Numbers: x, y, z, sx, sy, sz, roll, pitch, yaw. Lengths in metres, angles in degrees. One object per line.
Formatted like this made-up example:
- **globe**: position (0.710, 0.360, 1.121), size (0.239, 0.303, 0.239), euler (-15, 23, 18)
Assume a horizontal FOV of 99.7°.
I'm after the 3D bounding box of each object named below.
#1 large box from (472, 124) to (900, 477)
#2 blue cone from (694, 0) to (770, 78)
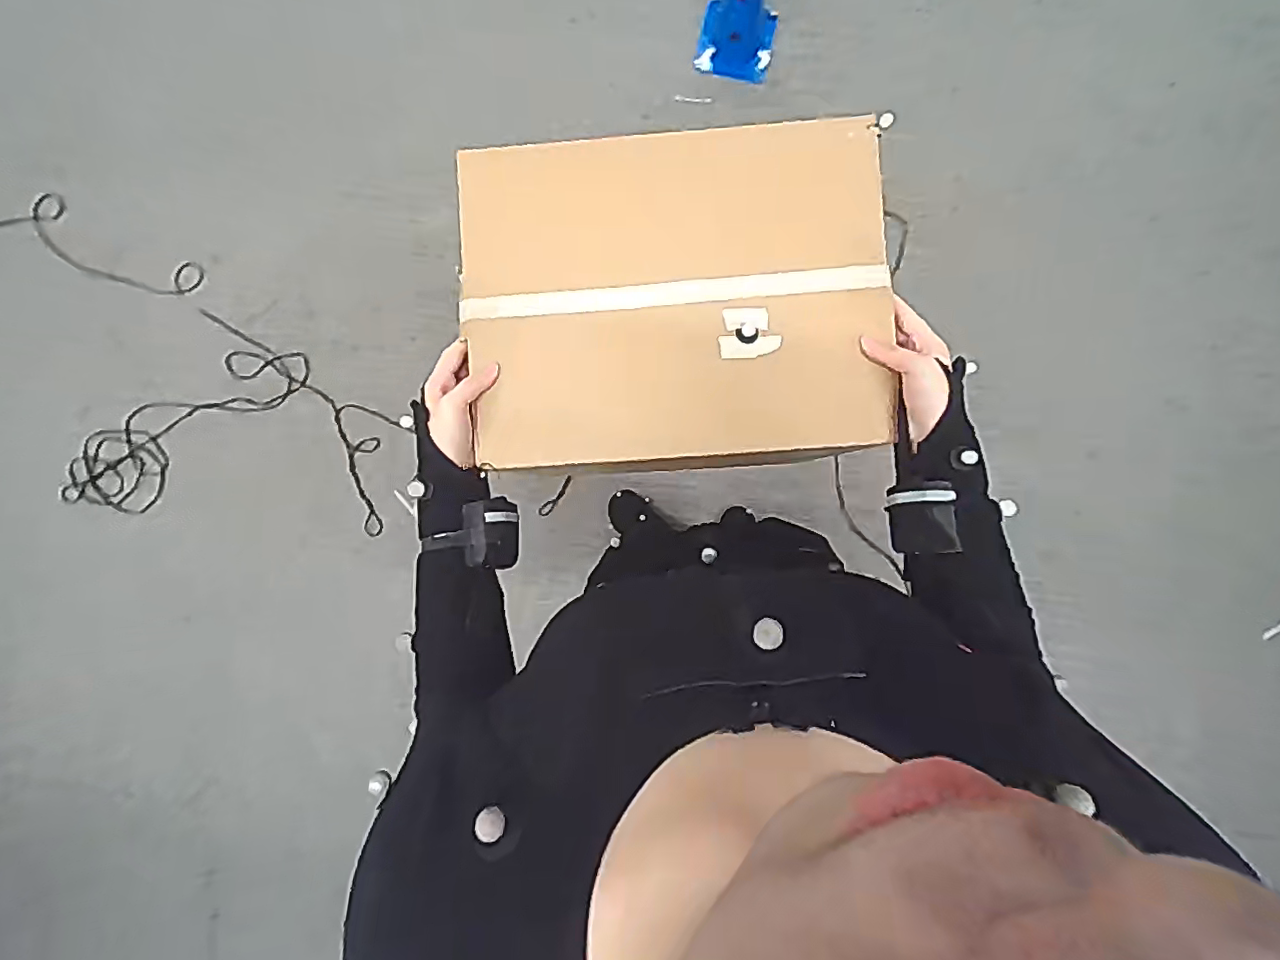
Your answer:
- **large box**: position (0.042, -0.176, 0.671), size (0.408, 0.320, 0.320), euler (-3, 89, 1)
- **blue cone**: position (0.248, -1.214, 1.331), size (0.193, 0.380, 0.192), euler (14, 90, 2)
